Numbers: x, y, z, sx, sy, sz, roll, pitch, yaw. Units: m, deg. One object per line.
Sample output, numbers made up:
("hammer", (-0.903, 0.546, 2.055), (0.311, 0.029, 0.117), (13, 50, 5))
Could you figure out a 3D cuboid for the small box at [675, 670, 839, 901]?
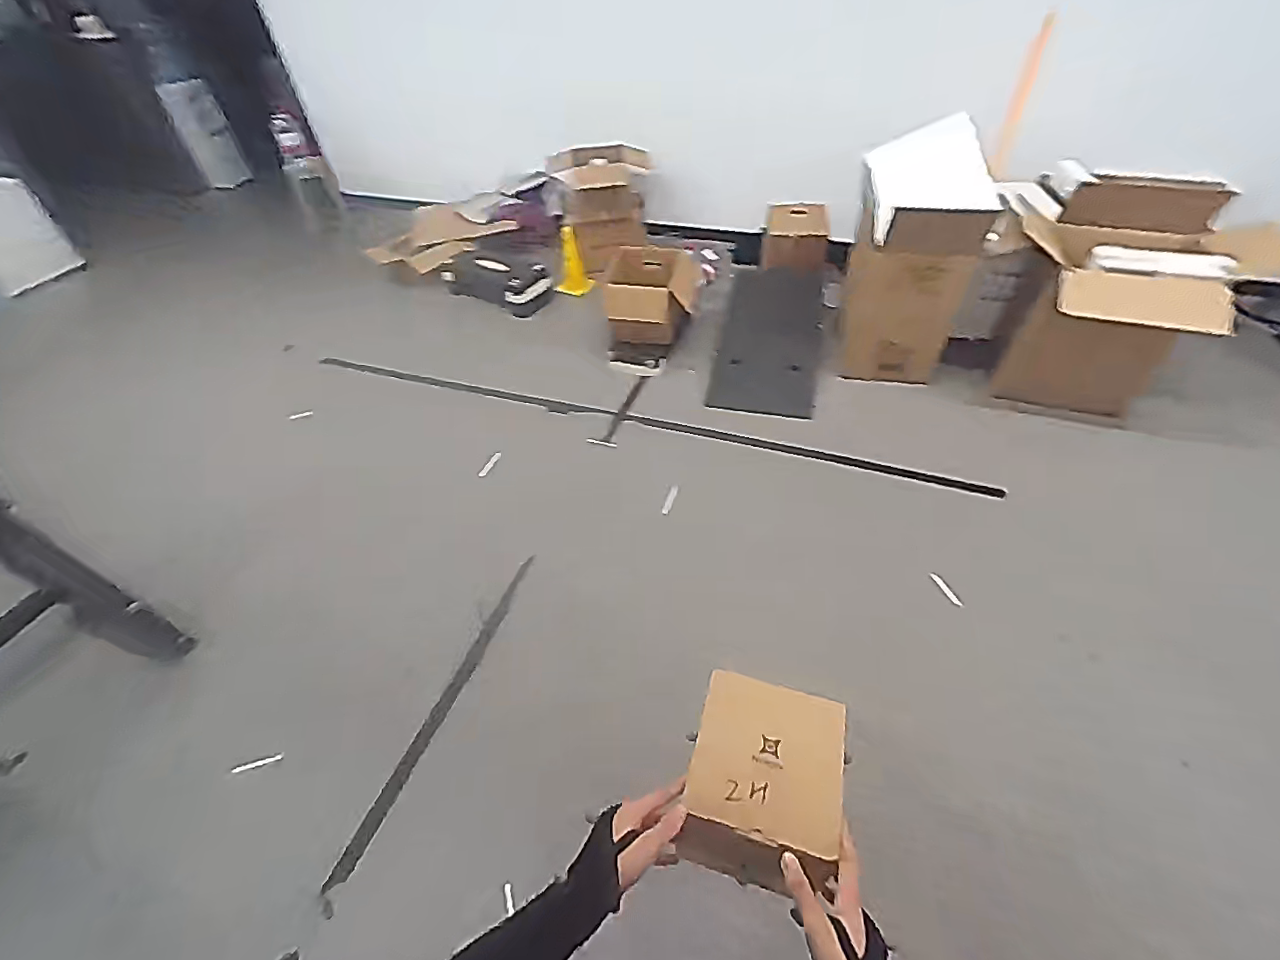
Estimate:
("small box", (0.139, 0.371, 0.664), (0.168, 0.176, 0.179), (10, 43, 14))
